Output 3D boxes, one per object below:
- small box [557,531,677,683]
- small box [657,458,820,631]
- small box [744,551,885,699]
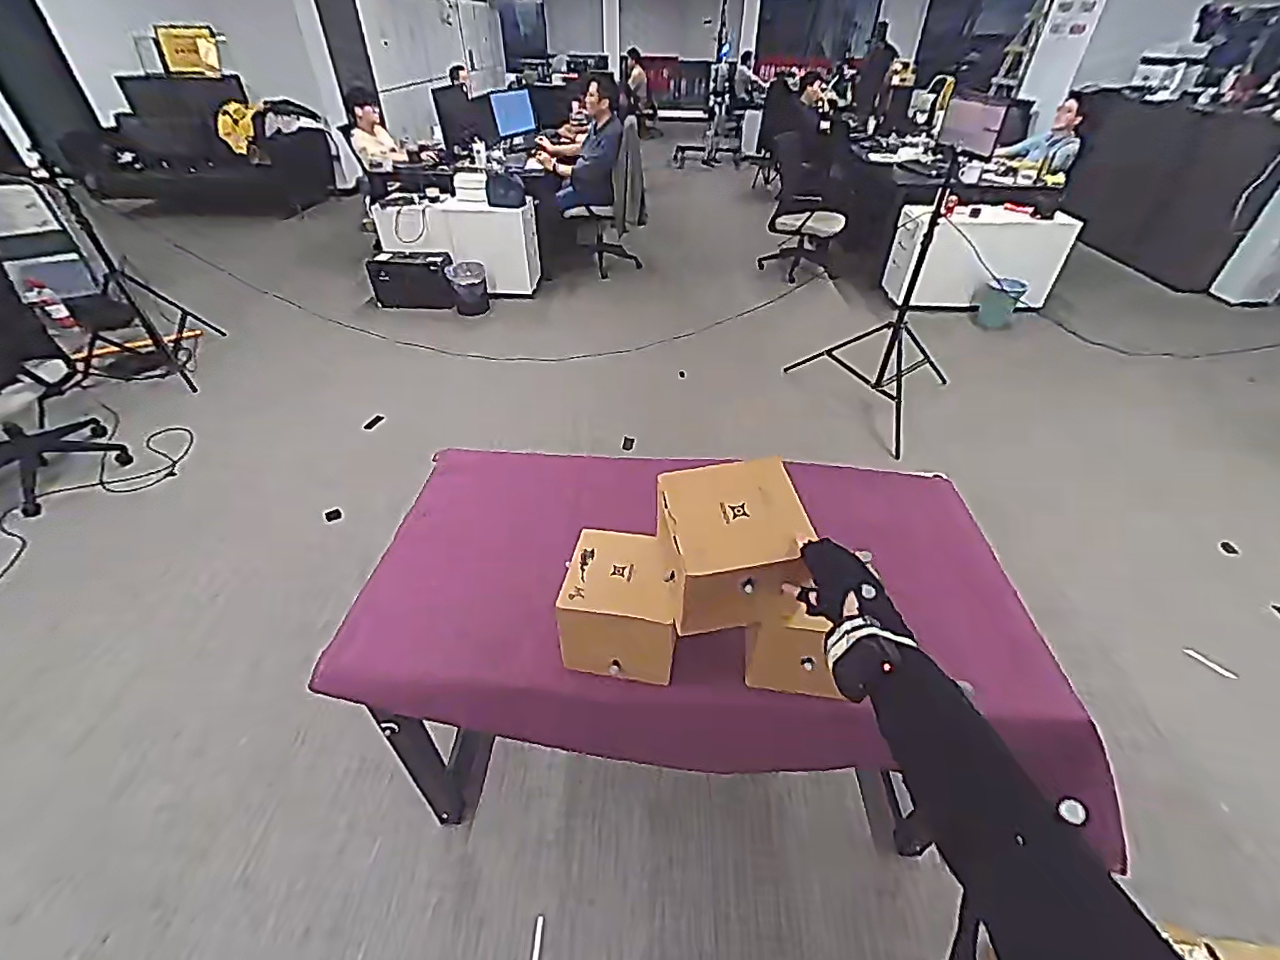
[{"bbox_3d":[-0.024,0.210,0.888,0.179,0.176,0.168,7,39,7],"label":"small box"},{"bbox_3d":[0.124,0.095,0.762,0.179,0.176,0.168,-8,49,-7],"label":"small box"},{"bbox_3d":[0.267,0.228,0.868,0.179,0.176,0.168,5,39,7],"label":"small box"}]
